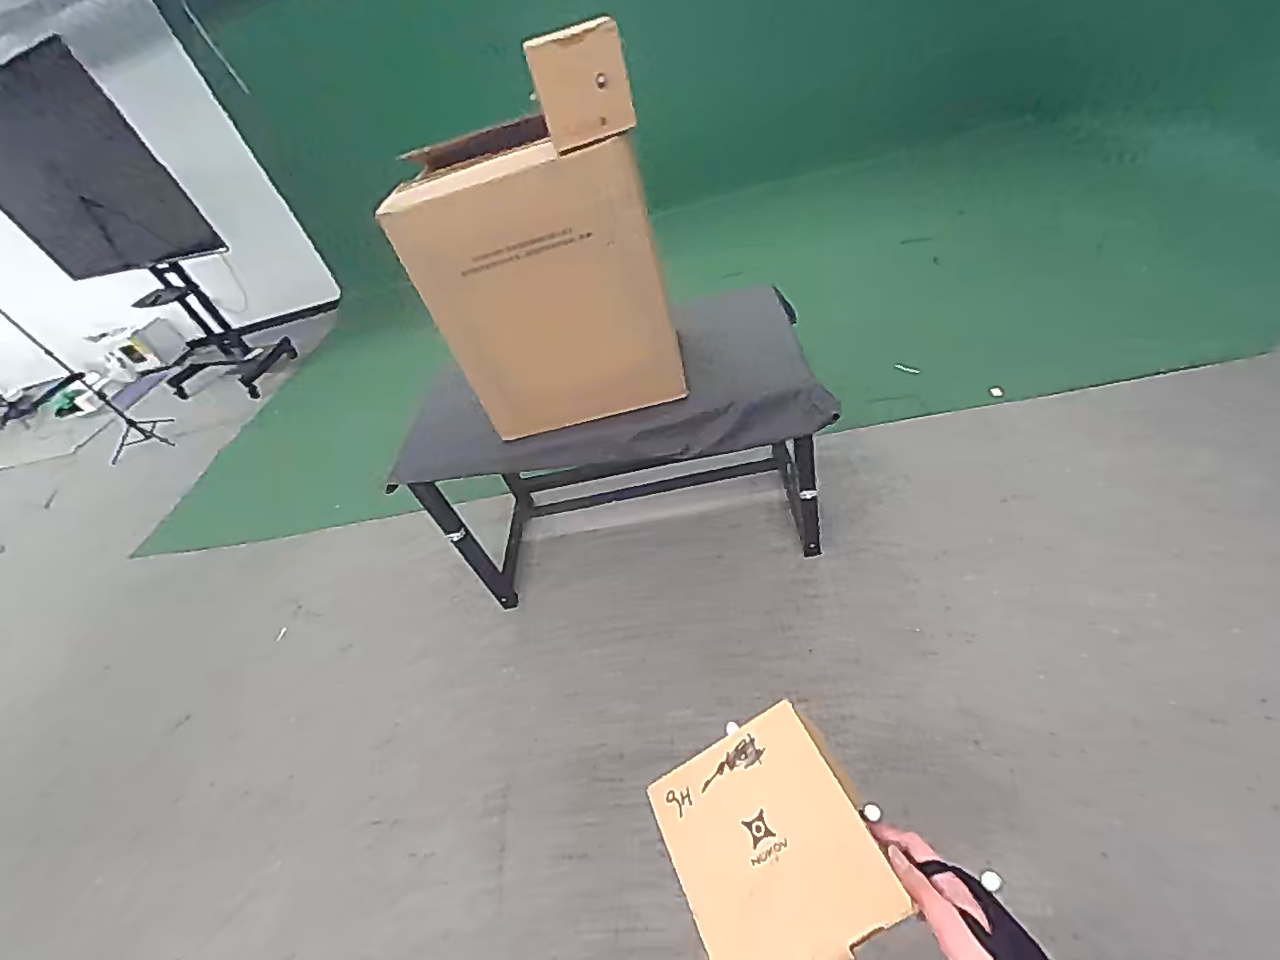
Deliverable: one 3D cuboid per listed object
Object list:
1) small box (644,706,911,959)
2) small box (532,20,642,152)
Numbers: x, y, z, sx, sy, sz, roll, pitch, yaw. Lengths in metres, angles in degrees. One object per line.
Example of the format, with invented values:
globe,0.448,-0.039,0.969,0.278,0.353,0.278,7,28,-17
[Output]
small box,0.135,0.353,0.522,0.168,0.176,0.179,-34,47,4
small box,-0.101,-0.759,1.048,0.168,0.176,0.179,-15,41,2
